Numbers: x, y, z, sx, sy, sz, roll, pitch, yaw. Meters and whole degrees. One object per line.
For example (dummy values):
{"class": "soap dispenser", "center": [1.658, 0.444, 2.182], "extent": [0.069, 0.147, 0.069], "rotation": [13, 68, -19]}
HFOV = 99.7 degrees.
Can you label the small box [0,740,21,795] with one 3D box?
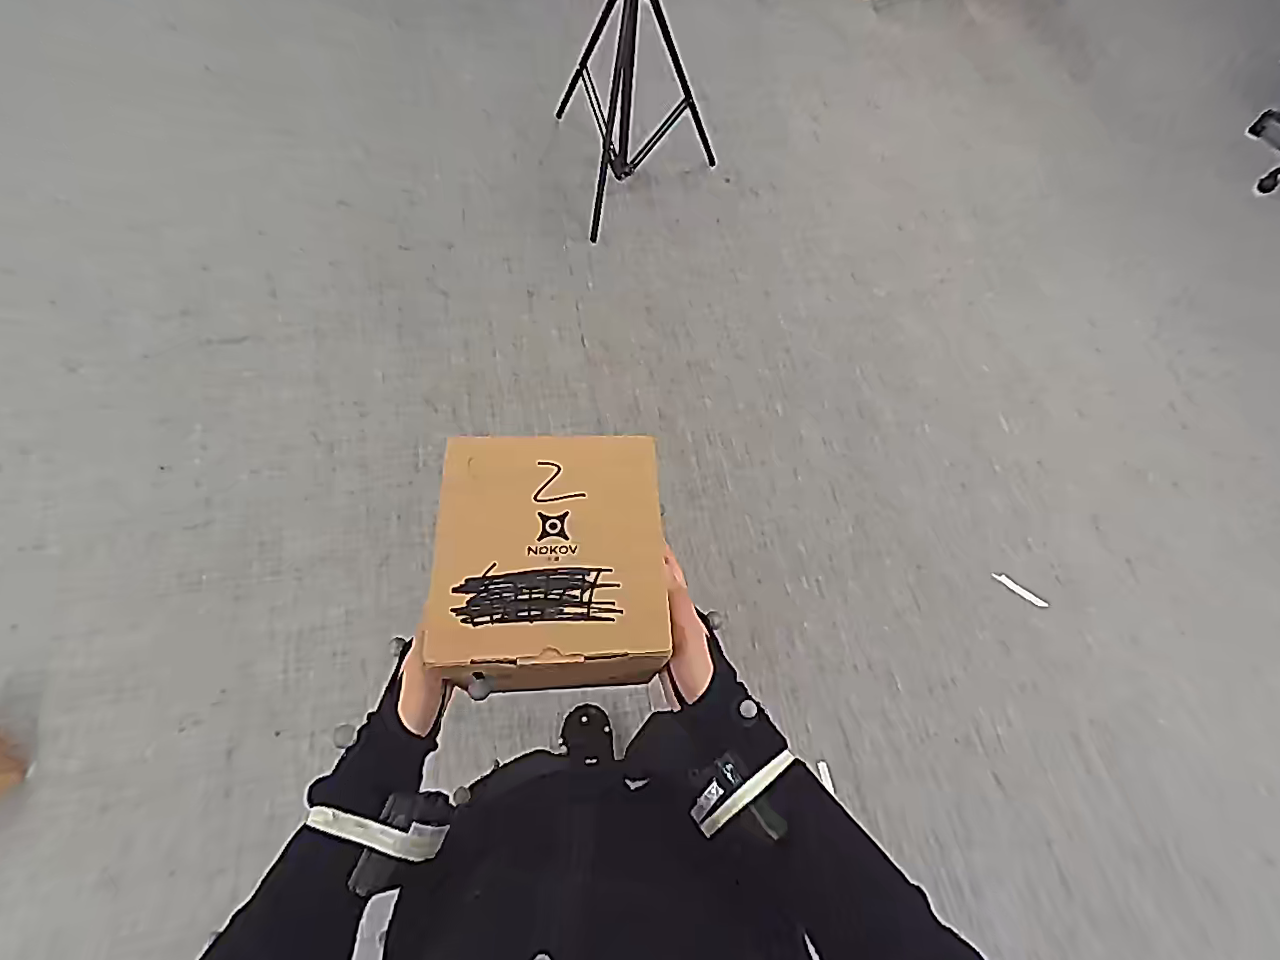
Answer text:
{"class": "small box", "center": [-1.423, 0.604, 1.073], "extent": [0.179, 0.176, 0.168], "rotation": [40, 70, 11]}
